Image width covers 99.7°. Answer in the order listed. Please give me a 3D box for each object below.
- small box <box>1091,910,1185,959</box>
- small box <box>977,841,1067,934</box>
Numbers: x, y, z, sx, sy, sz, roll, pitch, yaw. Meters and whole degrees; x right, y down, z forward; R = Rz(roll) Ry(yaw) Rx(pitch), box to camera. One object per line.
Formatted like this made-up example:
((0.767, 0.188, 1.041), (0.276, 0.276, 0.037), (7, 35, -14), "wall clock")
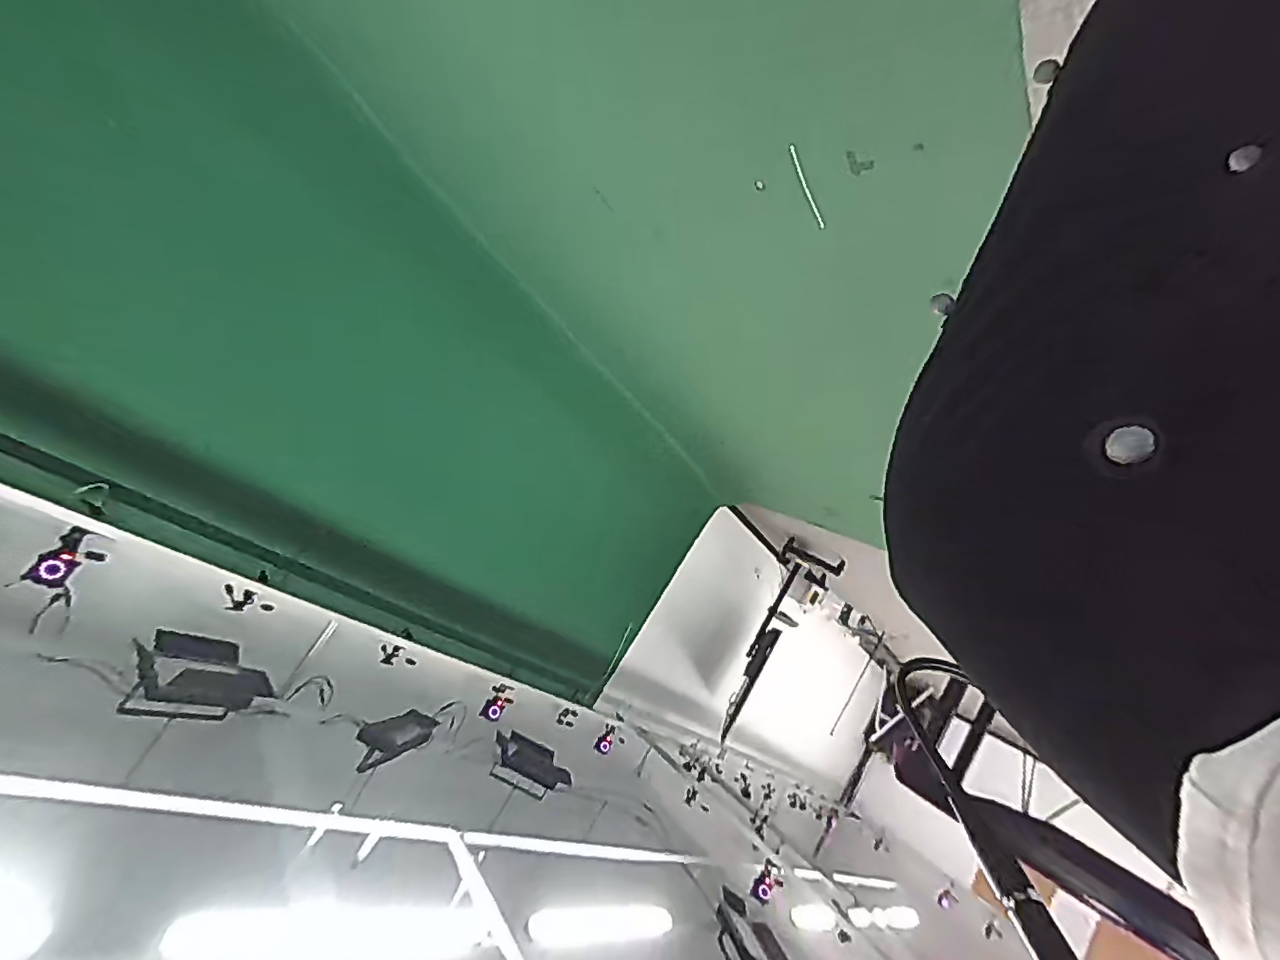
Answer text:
((1.355, 1.318, 1.464), (0.179, 0.176, 0.168), (22, 165, 49), "small box")
((1.187, 1.253, 1.677), (0.179, 0.176, 0.168), (19, 164, 48), "small box")
